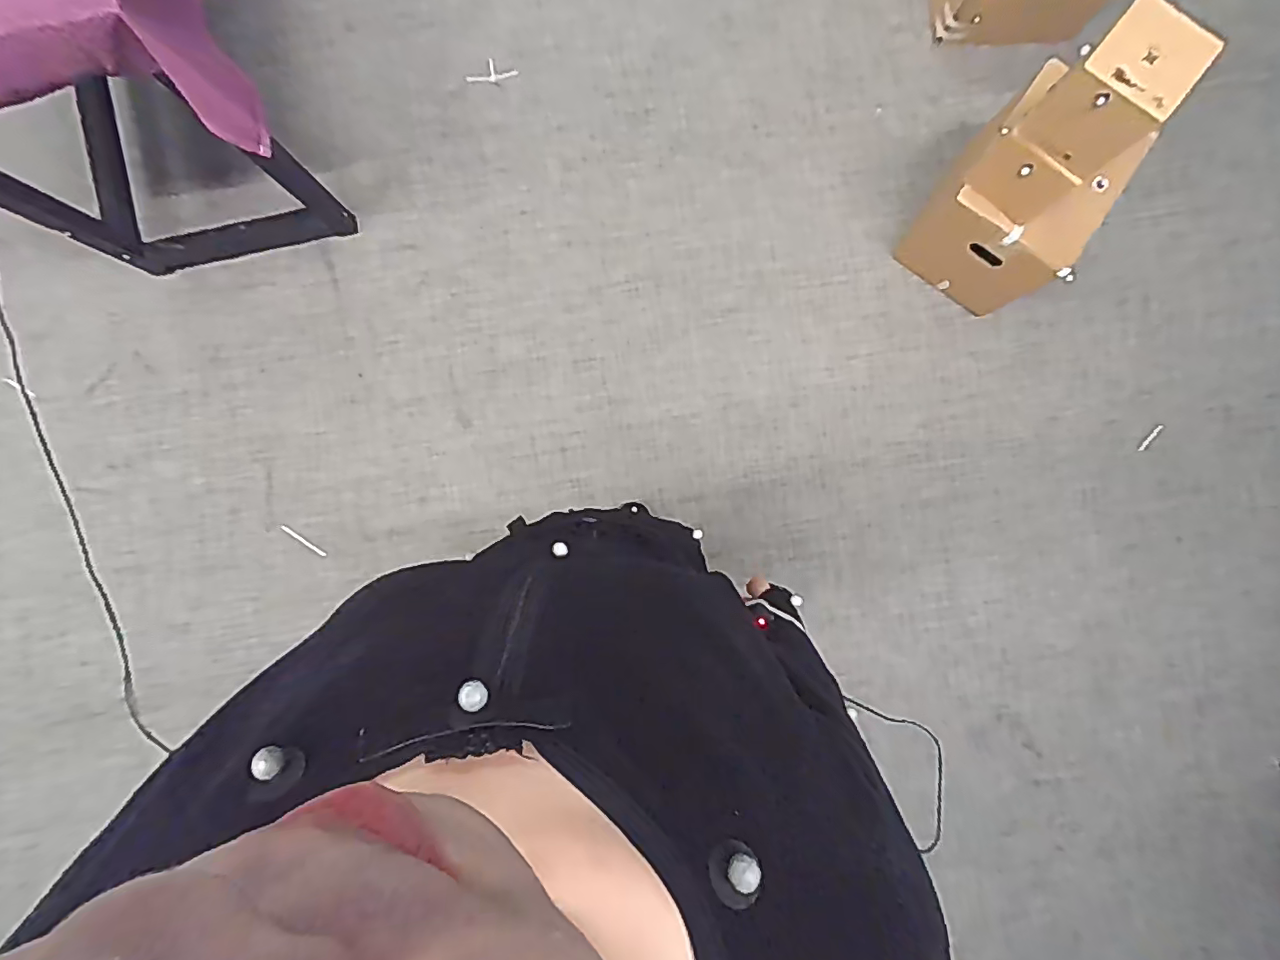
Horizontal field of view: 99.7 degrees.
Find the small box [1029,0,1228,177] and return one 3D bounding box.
[{"bbox_3d":[0.867,-0.706,0.980,0.168,0.176,0.179,40,89,3],"label":"small box"}]

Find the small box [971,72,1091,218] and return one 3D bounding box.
[{"bbox_3d":[0.861,-0.691,1.145,0.179,0.176,0.168,43,89,3],"label":"small box"}]
